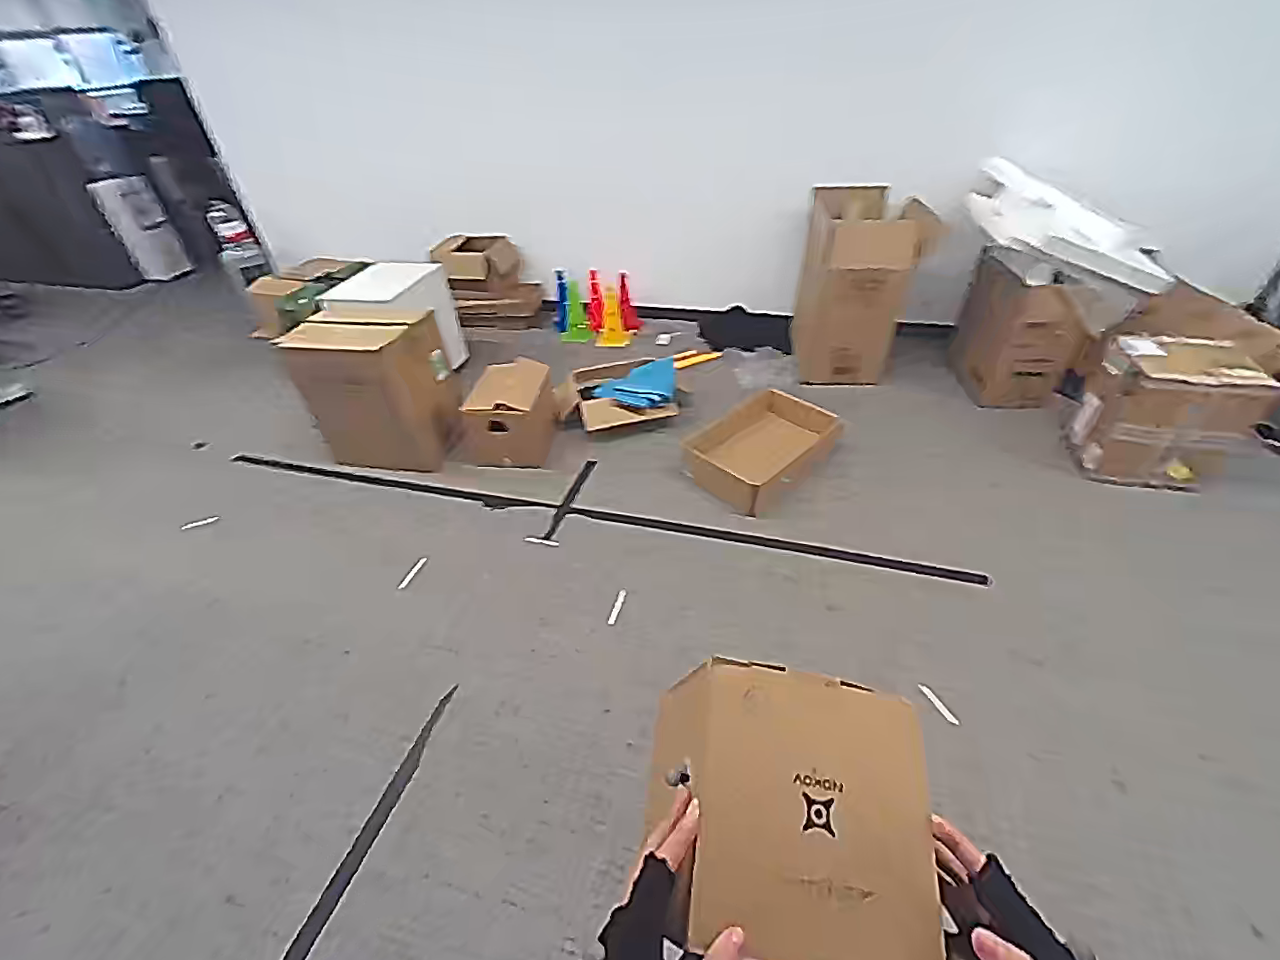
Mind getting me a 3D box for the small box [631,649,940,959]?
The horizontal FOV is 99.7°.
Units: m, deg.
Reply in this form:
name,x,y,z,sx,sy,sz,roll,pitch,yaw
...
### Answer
name,x,y,z,sx,sy,sz,roll,pitch,yaw
small box,0.095,0.255,0.424,0.168,0.176,0.179,13,56,-5
